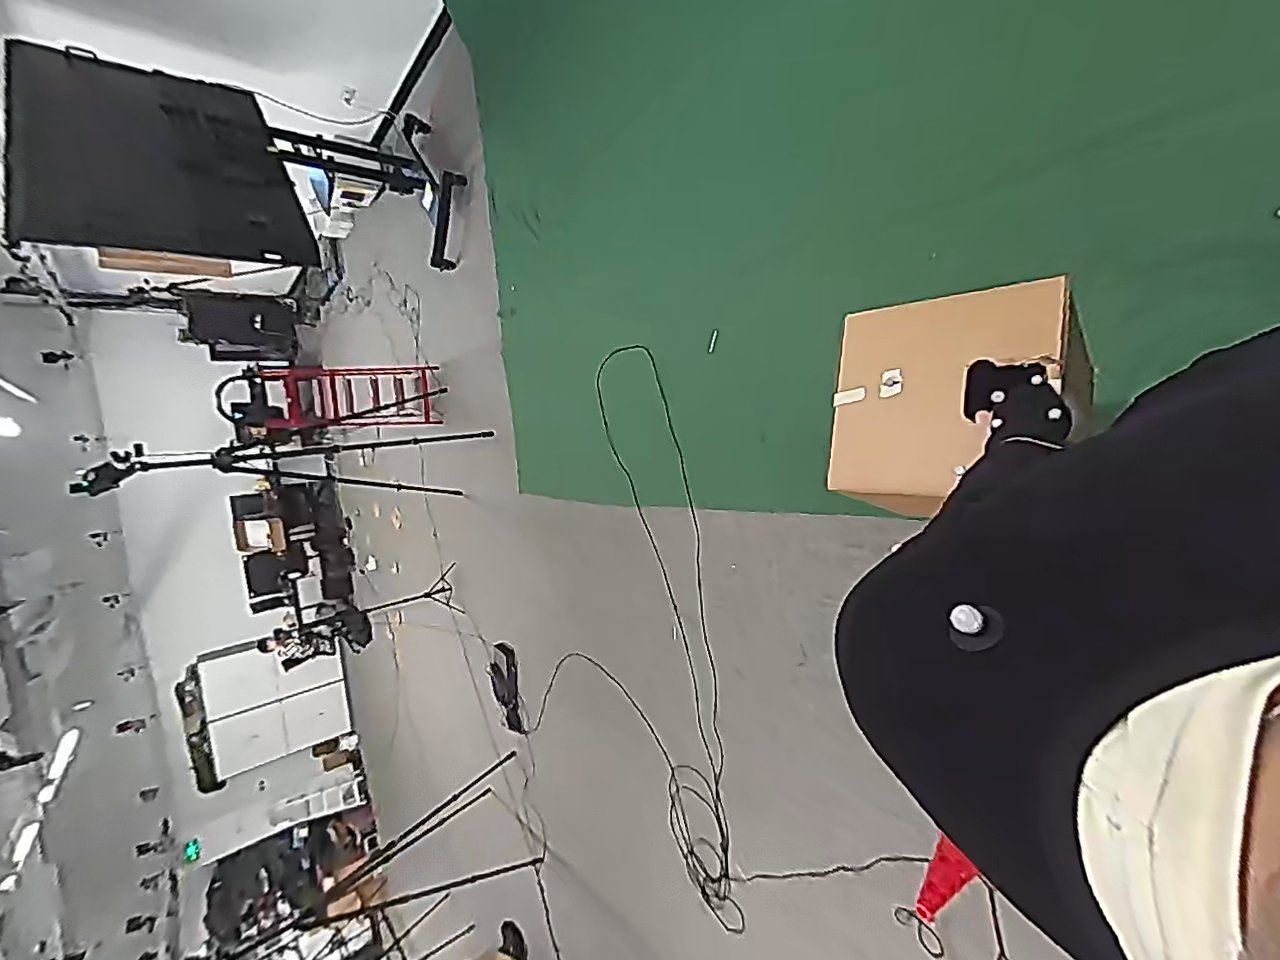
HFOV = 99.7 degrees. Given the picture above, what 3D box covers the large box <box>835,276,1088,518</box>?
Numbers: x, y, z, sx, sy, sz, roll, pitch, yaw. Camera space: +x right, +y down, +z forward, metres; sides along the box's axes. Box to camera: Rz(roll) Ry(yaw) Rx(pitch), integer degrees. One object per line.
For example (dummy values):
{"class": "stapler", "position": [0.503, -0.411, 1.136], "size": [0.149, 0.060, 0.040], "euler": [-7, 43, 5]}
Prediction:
{"class": "large box", "position": [0.582, -0.109, 0.970], "size": [0.320, 0.408, 0.320], "euler": [3, 83, 44]}
